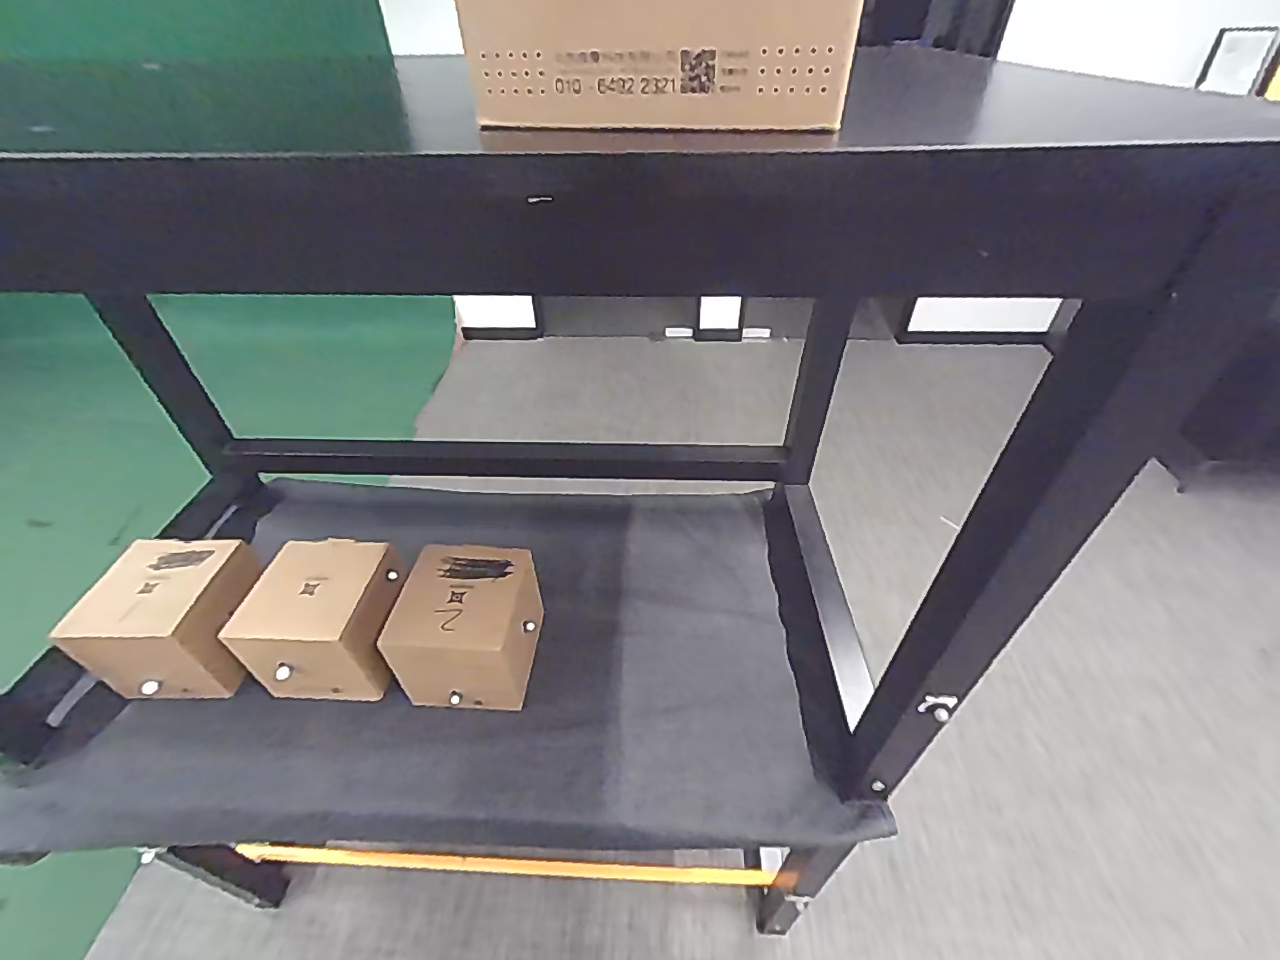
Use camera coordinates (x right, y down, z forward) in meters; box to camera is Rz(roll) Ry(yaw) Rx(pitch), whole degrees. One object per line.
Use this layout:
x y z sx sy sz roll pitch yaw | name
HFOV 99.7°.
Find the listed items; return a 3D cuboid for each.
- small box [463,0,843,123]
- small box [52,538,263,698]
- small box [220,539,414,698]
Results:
0.015 -0.278 0.255 0.168 0.176 0.179 7 41 9 | small box
-0.694 0.208 0.825 0.168 0.176 0.179 0 41 1 | small box
-0.467 0.211 0.821 0.168 0.176 0.179 2 40 2 | small box
